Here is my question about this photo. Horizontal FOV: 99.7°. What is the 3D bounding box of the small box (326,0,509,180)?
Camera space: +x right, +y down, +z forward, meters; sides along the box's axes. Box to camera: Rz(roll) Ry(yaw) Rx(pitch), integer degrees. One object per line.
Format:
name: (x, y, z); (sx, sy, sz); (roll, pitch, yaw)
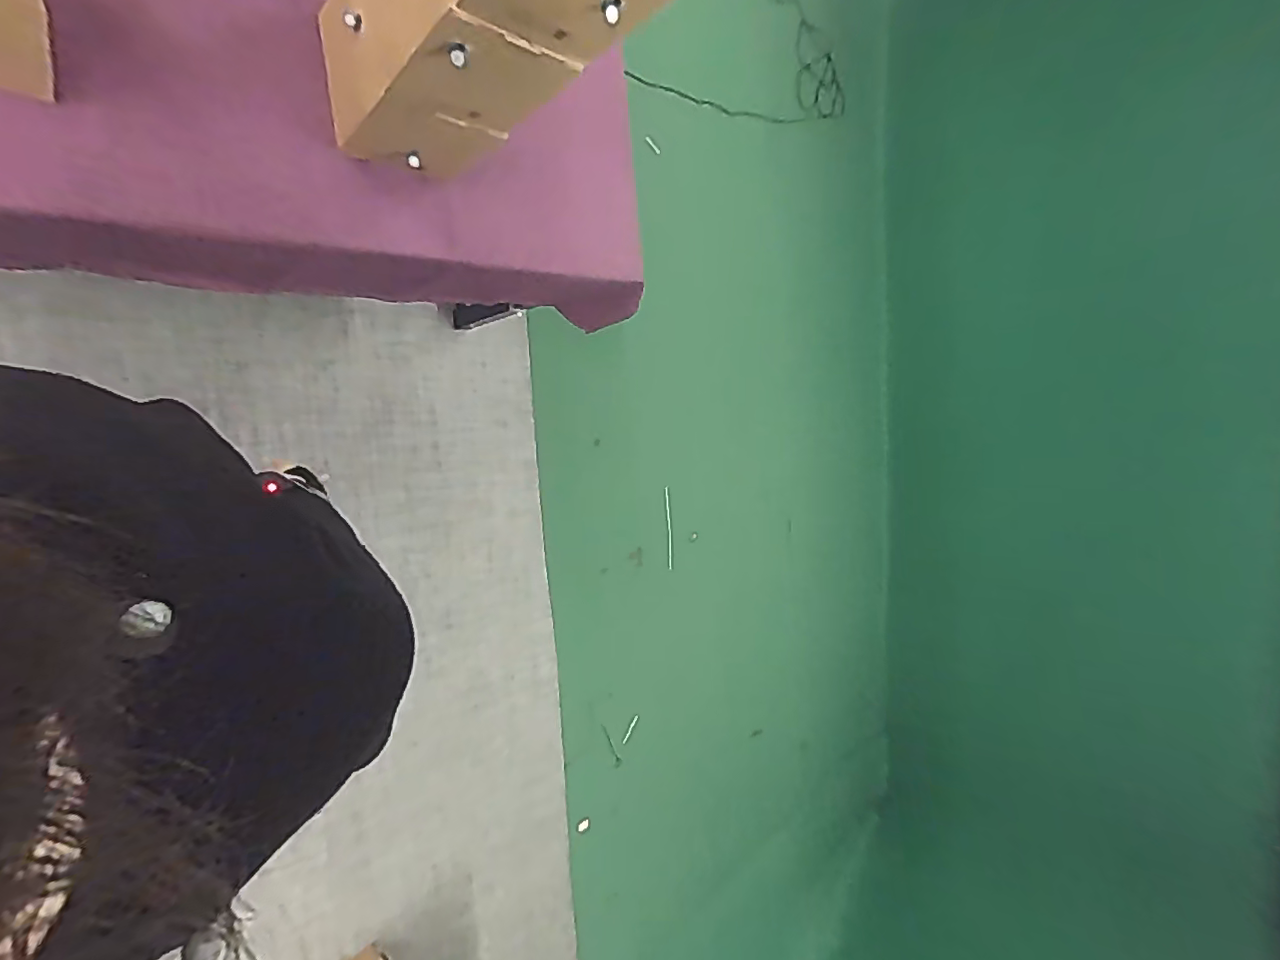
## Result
small box: (-0.298, -0.536, 0.720); (0.168, 0.176, 0.179); (-11, 100, -44)

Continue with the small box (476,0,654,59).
small box: (-0.067, -0.534, 0.488); (0.168, 0.176, 0.179); (-16, 102, -44)

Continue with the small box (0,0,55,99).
small box: (-0.598, -0.443, 0.421); (0.168, 0.176, 0.179); (-16, 102, -44)
